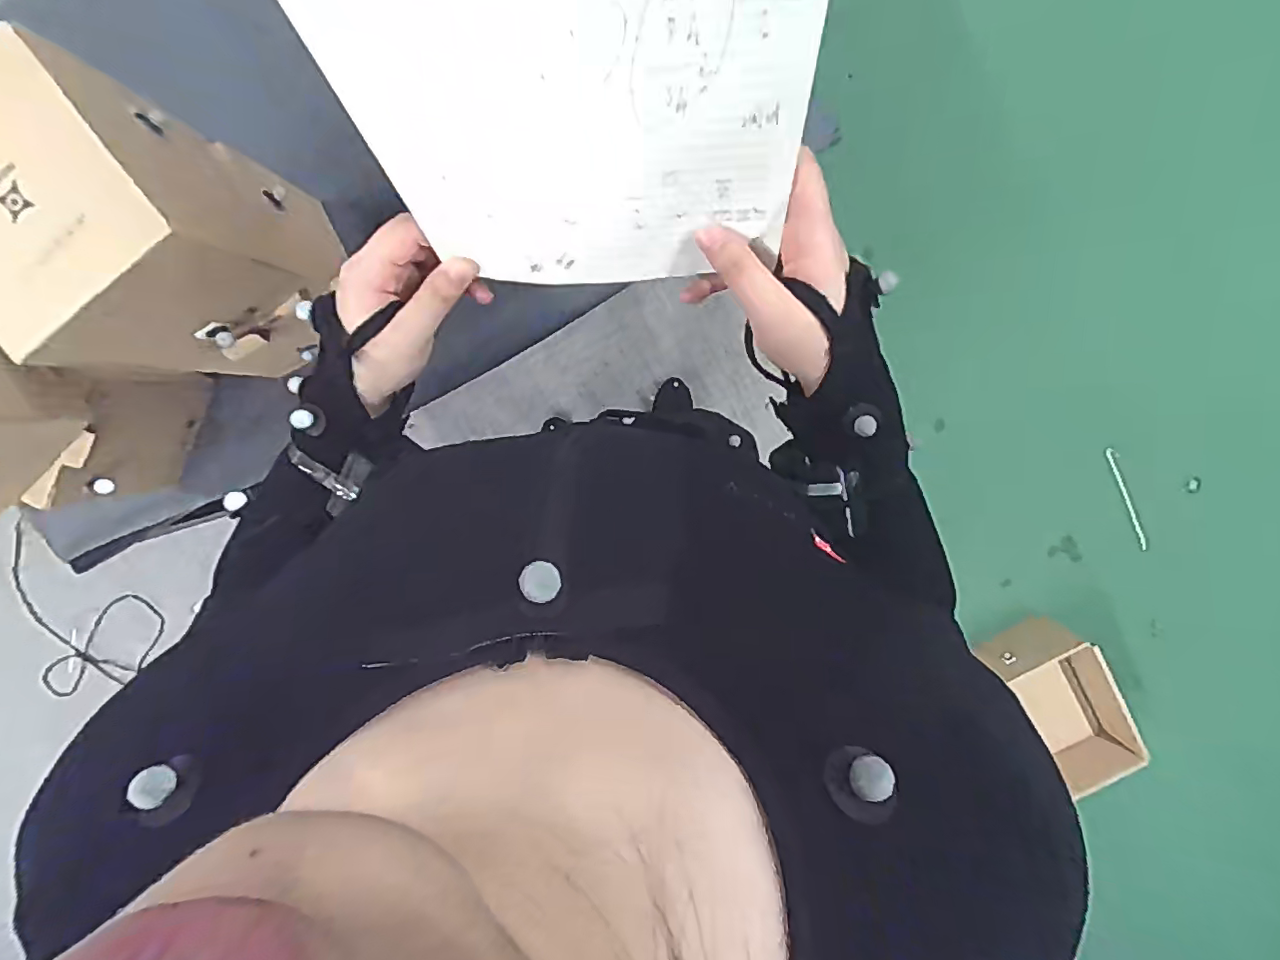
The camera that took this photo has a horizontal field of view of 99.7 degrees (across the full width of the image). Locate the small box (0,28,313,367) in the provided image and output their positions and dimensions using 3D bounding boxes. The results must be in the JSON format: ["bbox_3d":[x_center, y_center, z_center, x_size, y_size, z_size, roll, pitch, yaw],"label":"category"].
[{"bbox_3d":[-0.445,-0.215,0.473,0.168,0.176,0.179,-36,97,7],"label":"small box"}]

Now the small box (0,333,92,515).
[{"bbox_3d":[-0.689,-0.060,0.499,0.179,0.176,0.168,-42,96,7],"label":"small box"}]

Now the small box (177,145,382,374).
[{"bbox_3d":[-0.447,-0.238,0.634,0.168,0.176,0.179,-24,97,5],"label":"small box"}]
